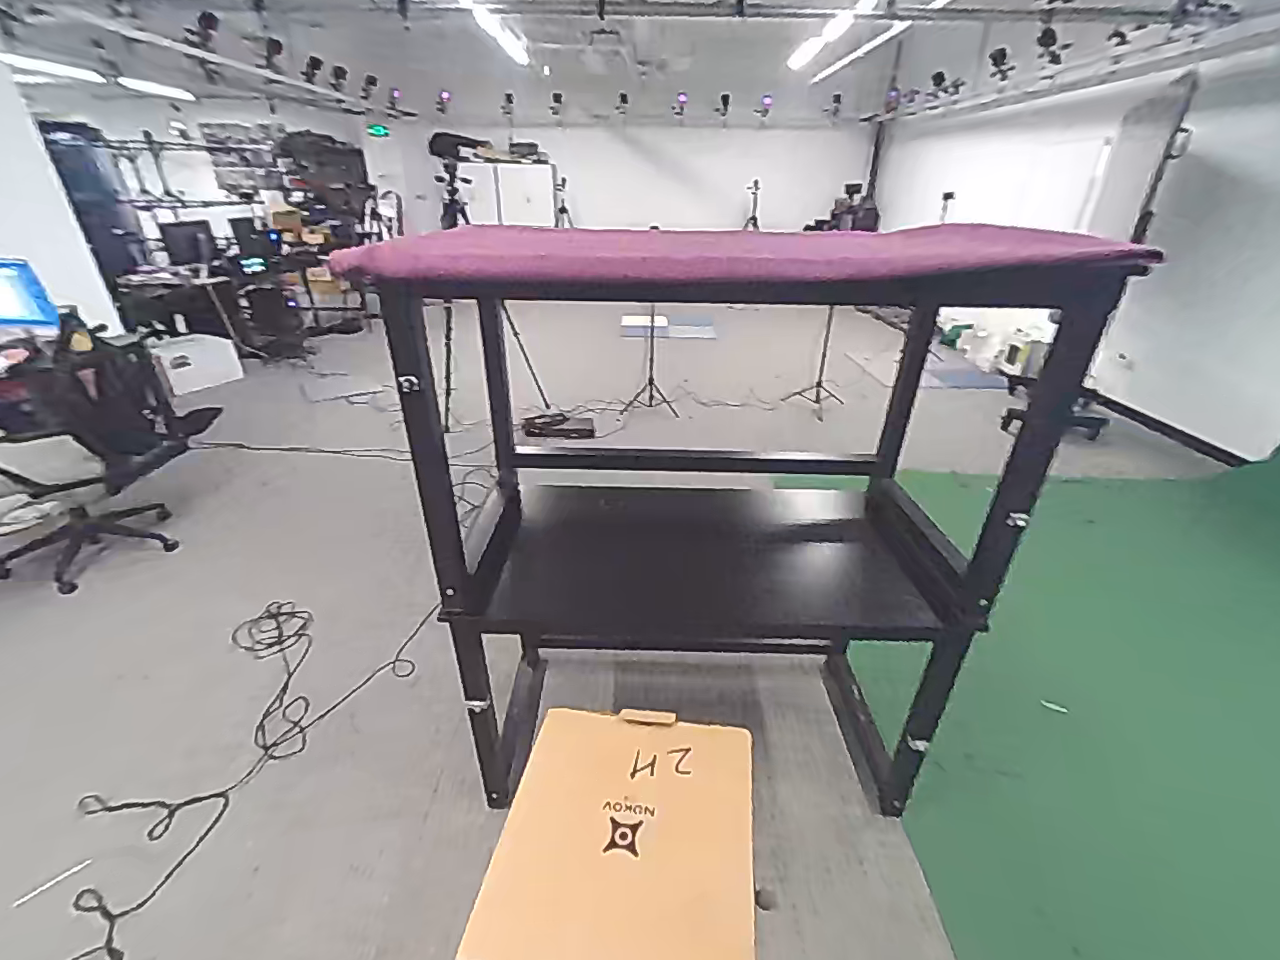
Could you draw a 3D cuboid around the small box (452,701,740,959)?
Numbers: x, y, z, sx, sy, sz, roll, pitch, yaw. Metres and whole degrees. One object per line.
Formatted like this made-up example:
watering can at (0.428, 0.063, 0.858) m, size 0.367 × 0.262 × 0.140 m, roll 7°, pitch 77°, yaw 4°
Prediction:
small box at (-0.011, 0.299, 0.402) m, size 0.168 × 0.176 × 0.179 m, roll 2°, pitch 26°, yaw 9°
